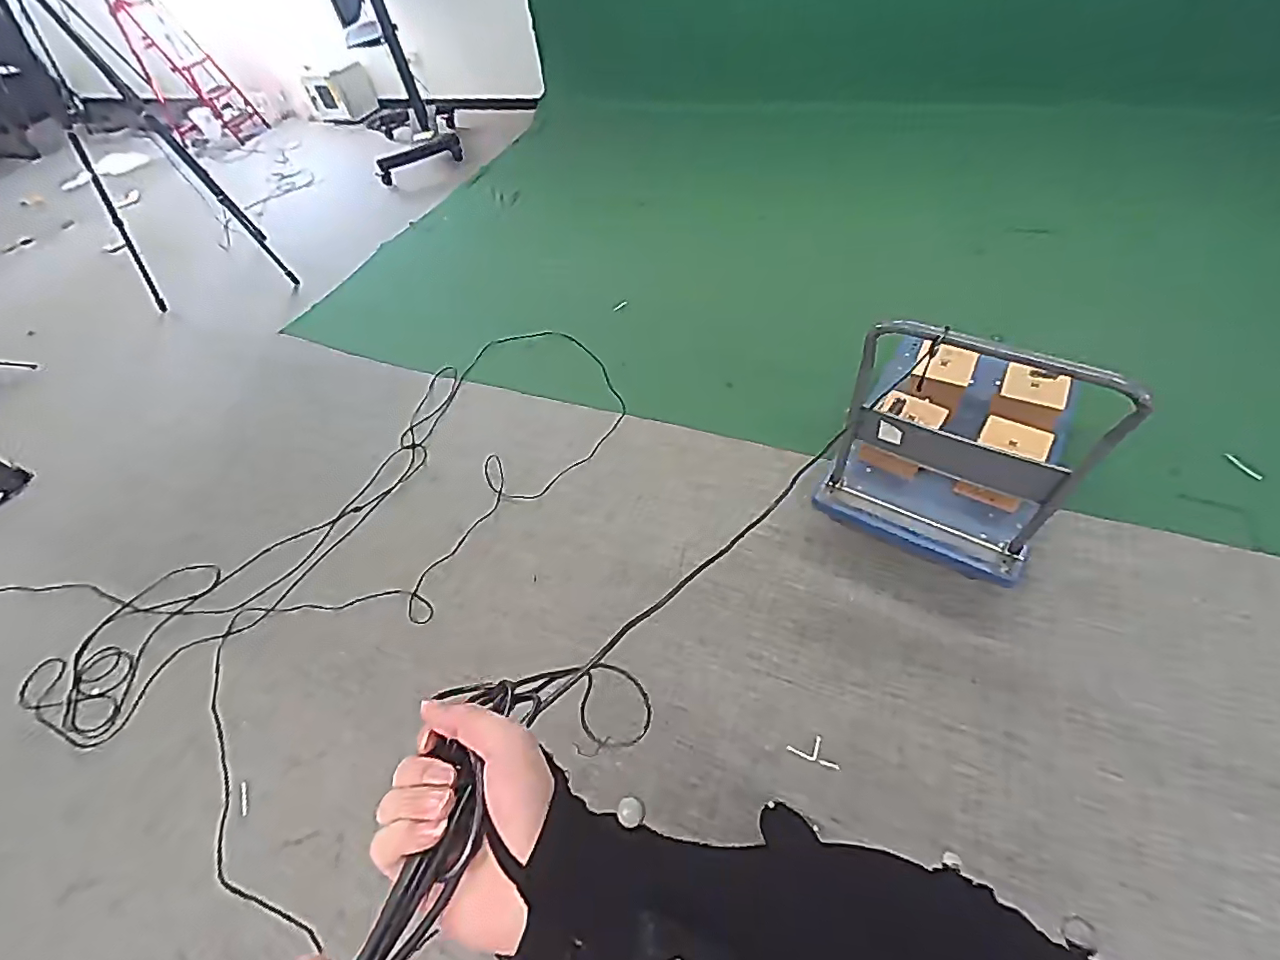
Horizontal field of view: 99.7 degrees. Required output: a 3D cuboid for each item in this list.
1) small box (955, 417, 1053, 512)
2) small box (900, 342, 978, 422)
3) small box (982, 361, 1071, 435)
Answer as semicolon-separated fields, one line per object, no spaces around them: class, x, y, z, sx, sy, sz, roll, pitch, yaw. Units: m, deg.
small box;1.036;-0.044;1.550;0.168;0.176;0.179;26;61;26
small box;0.973;-0.317;1.769;0.168;0.176;0.179;22;59;23
small box;1.188;-0.234;1.669;0.168;0.176;0.179;21;60;24
